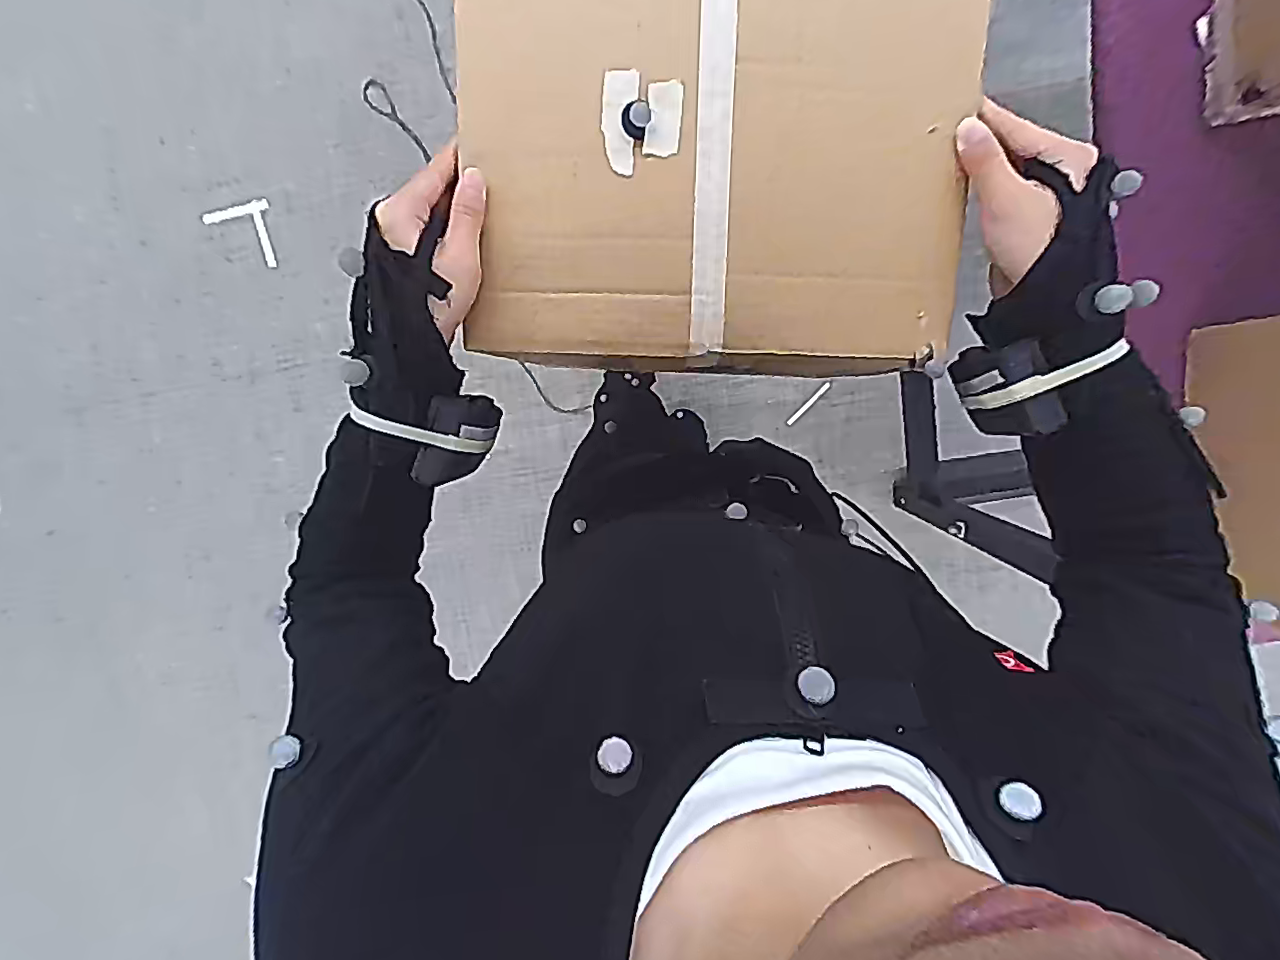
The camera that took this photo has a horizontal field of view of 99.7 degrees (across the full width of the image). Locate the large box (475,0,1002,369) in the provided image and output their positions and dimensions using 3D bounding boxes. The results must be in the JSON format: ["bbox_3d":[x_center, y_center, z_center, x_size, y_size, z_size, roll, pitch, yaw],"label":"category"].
[{"bbox_3d":[0.057,-0.305,0.457,0.320,0.320,0.408,1,100,1],"label":"large box"}]
